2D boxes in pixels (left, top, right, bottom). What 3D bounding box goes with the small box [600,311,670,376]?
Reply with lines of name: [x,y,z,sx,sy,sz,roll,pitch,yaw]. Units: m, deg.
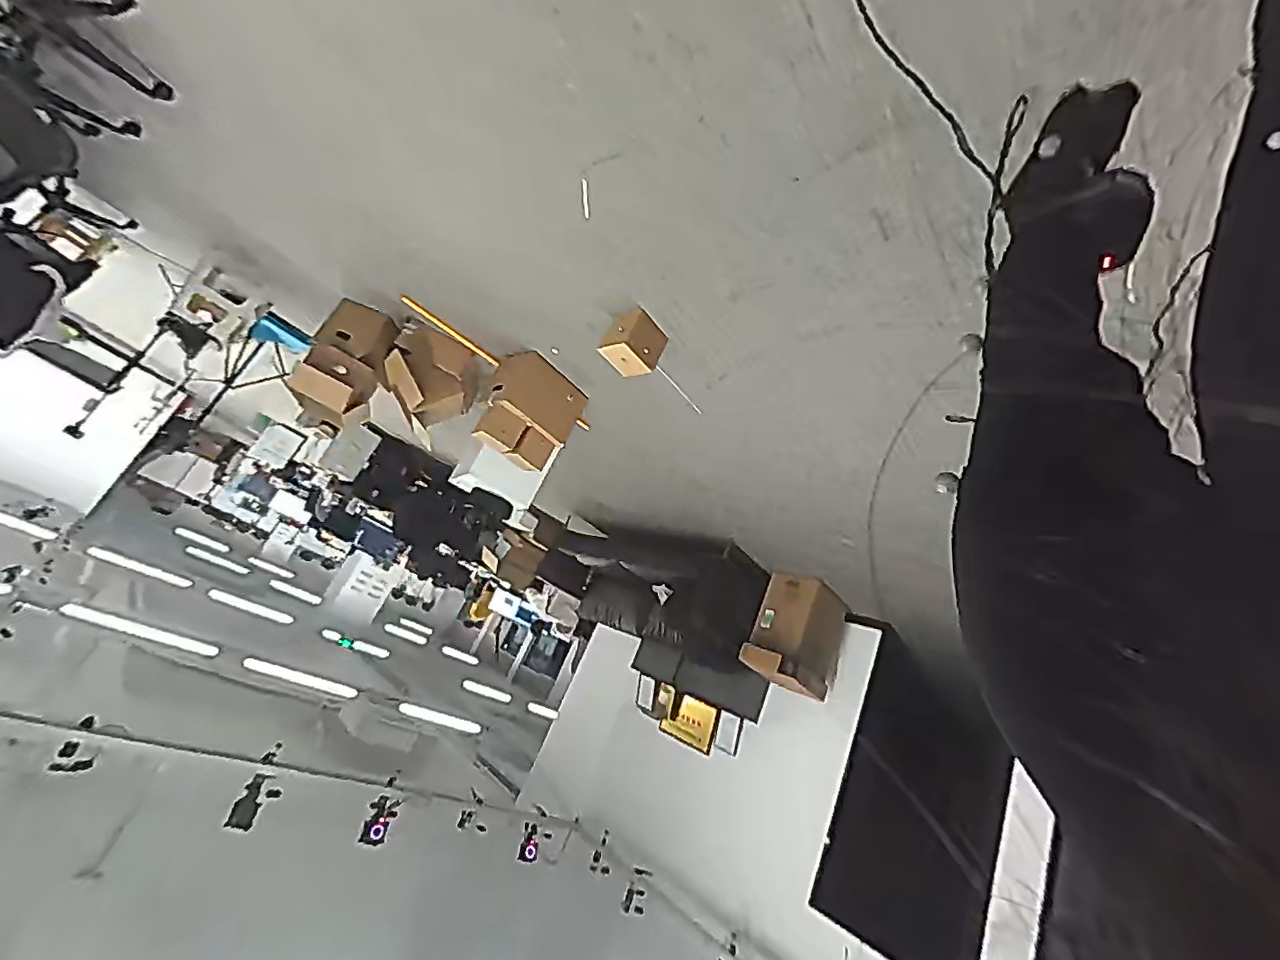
small box: [-0.017,-0.532,2.089,0.168,0.176,0.179,3,152,48]
